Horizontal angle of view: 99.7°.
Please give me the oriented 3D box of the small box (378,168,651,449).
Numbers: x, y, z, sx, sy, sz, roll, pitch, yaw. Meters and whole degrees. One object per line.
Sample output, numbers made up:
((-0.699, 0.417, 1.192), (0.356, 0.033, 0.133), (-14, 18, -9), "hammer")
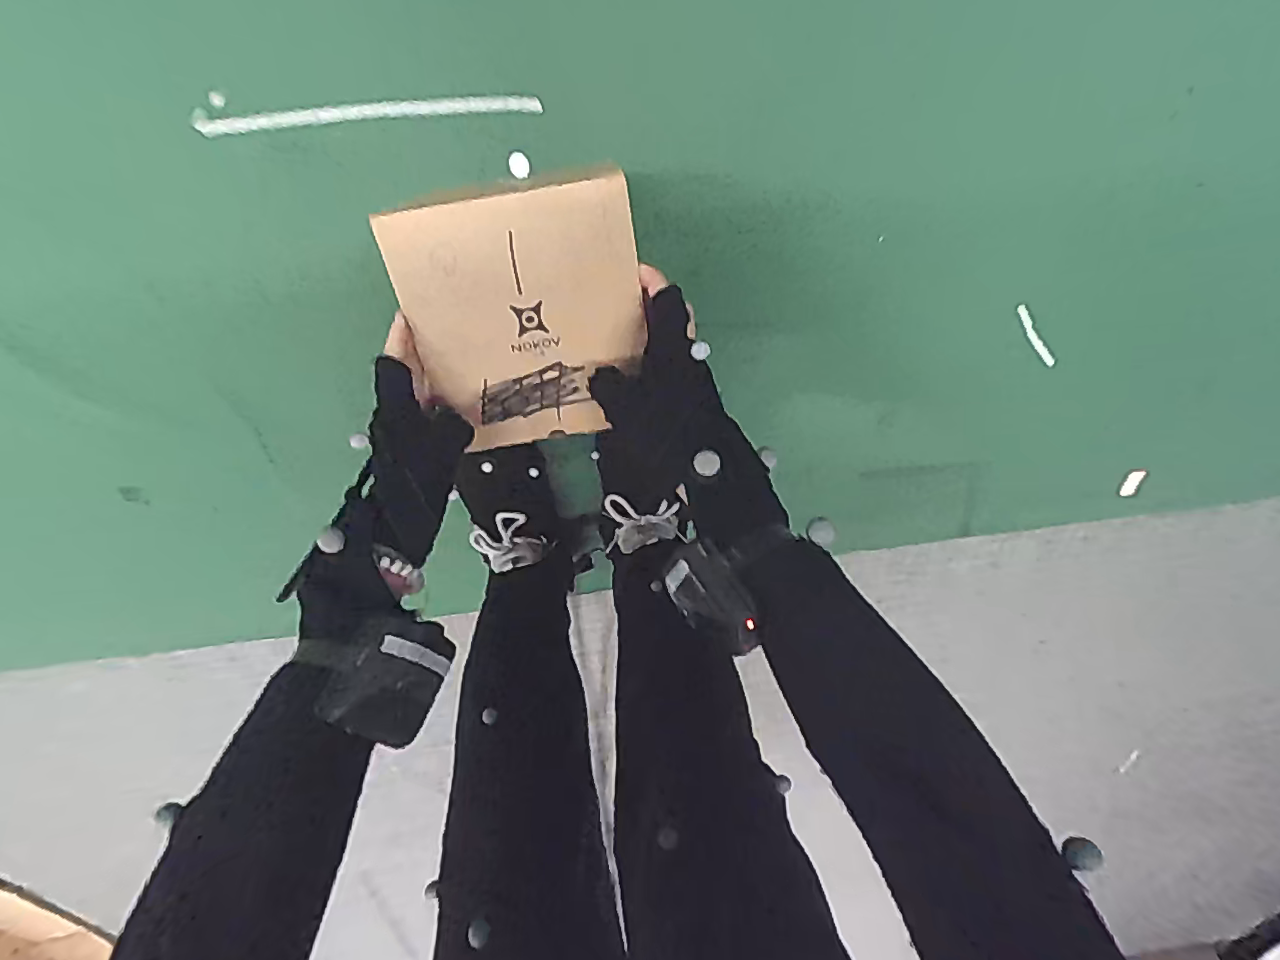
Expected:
((-0.087, -0.152, 0.461), (0.168, 0.176, 0.179), (-10, 123, -1), "small box")

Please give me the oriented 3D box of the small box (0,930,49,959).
((-1.481, 1.123, 1.174), (0.179, 0.176, 0.168), (-12, 123, -2), "small box")
